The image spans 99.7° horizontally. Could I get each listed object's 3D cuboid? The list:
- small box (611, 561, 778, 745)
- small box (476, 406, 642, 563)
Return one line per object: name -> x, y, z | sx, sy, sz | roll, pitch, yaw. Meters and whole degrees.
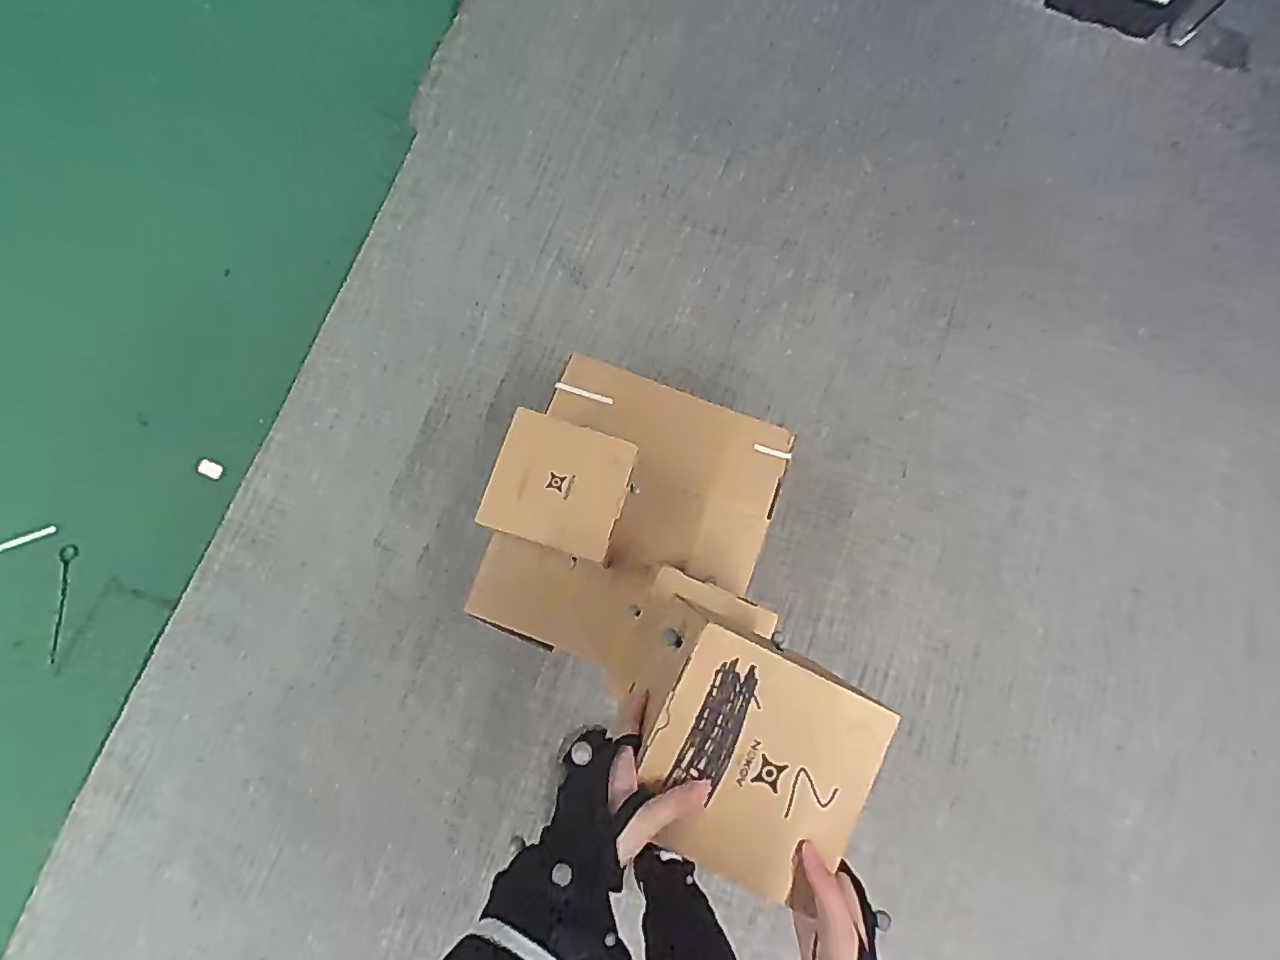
small box -> 0.064, 0.226, 0.751 | 0.168, 0.176, 0.179 | 24, 79, 1
small box -> -0.107, 0.017, 0.782 | 0.179, 0.176, 0.168 | 18, 78, 1
